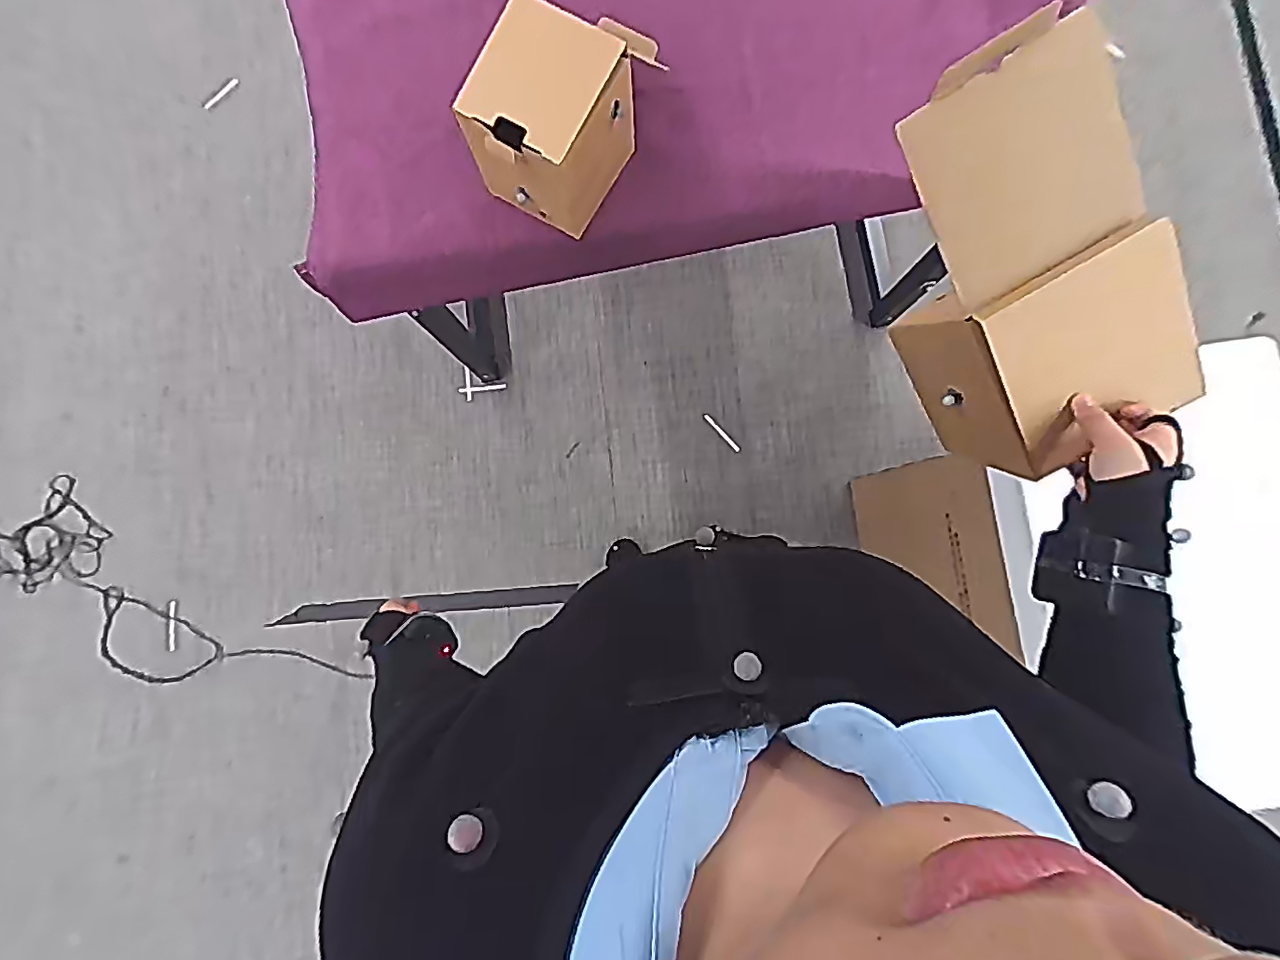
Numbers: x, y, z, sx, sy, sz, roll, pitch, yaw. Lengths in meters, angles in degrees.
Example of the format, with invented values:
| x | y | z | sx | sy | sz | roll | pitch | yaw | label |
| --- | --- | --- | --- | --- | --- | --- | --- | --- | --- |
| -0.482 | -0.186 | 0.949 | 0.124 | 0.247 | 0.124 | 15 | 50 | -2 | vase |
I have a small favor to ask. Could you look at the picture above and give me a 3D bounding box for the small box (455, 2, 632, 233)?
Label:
| x | y | z | sx | sy | sz | roll | pitch | yaw | label |
| --- | --- | --- | --- | --- | --- | --- | --- | --- | --- |
| -0.122 | -0.498 | 0.765 | 0.168 | 0.176 | 0.179 | 30 | 85 | 5 | small box |
